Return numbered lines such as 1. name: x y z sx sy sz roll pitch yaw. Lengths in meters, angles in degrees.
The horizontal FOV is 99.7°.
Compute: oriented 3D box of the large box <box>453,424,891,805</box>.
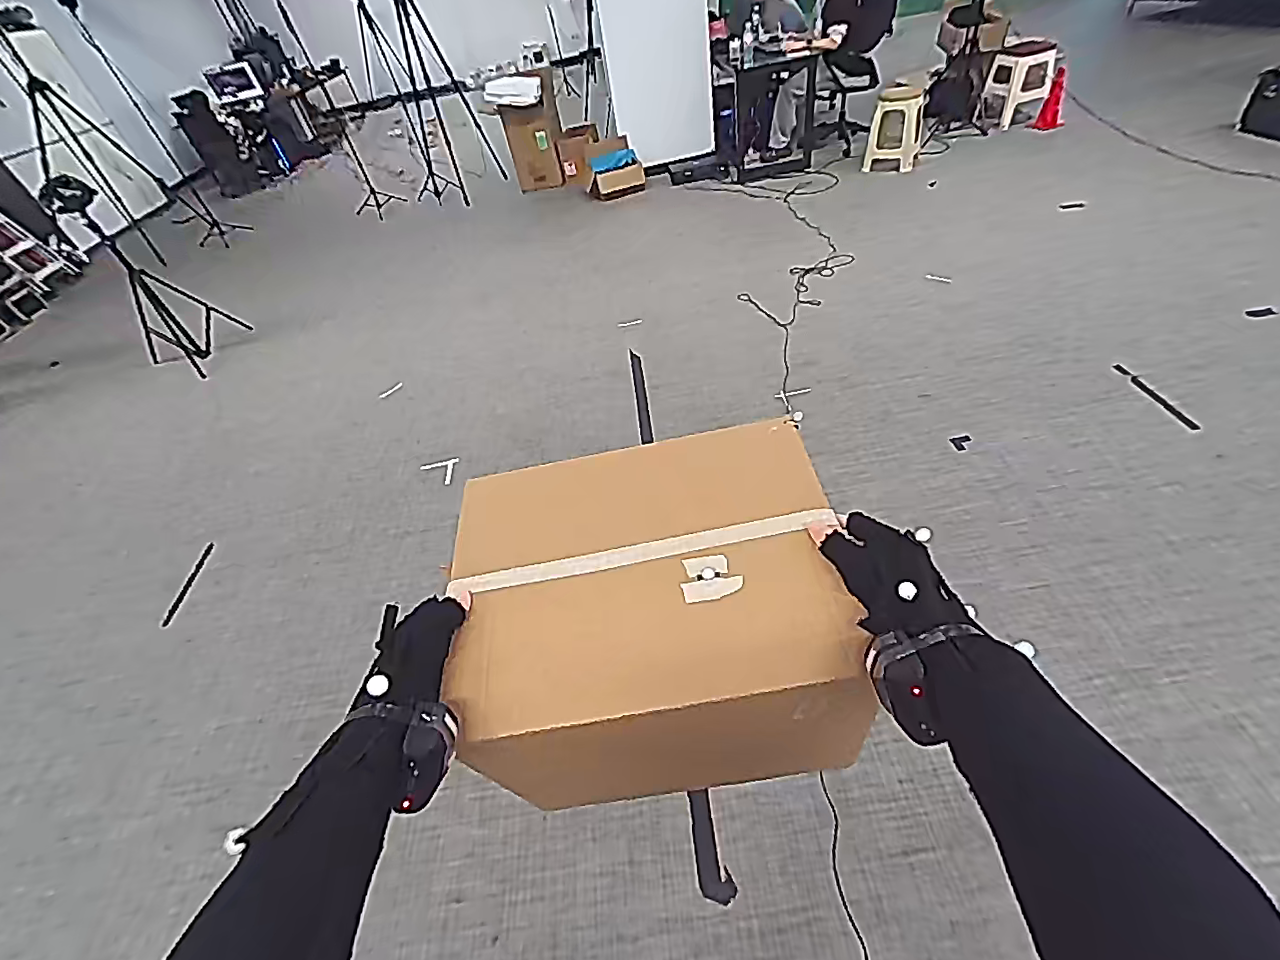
1. large box: 0.031 0.177 0.681 0.408 0.320 0.320 -11 49 3
